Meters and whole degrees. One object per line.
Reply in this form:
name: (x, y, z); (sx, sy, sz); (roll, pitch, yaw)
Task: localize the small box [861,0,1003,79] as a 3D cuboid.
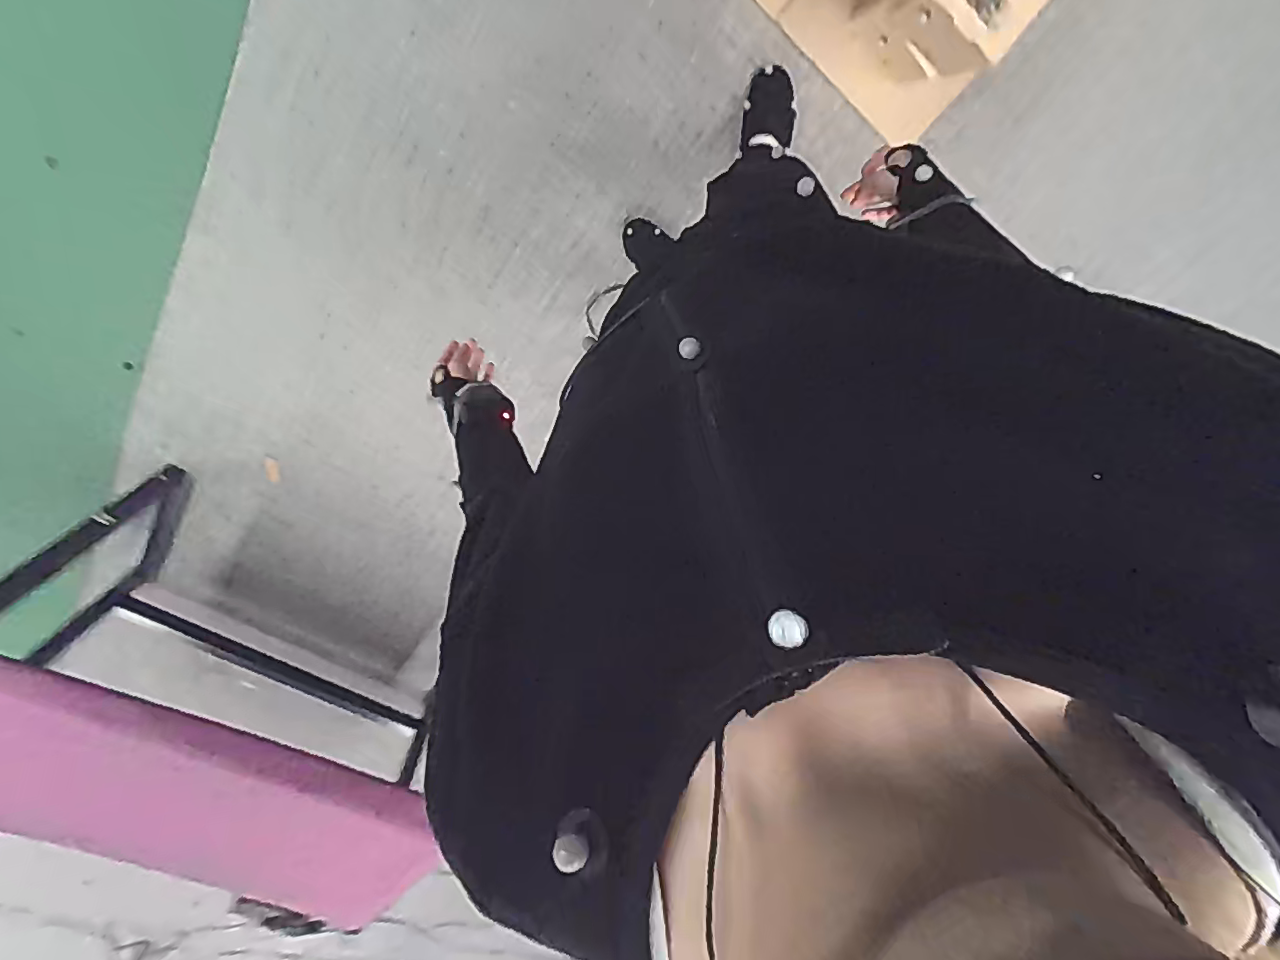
small box: (0.545, -0.900, 1.017); (0.168, 0.176, 0.179); (36, 114, -21)
